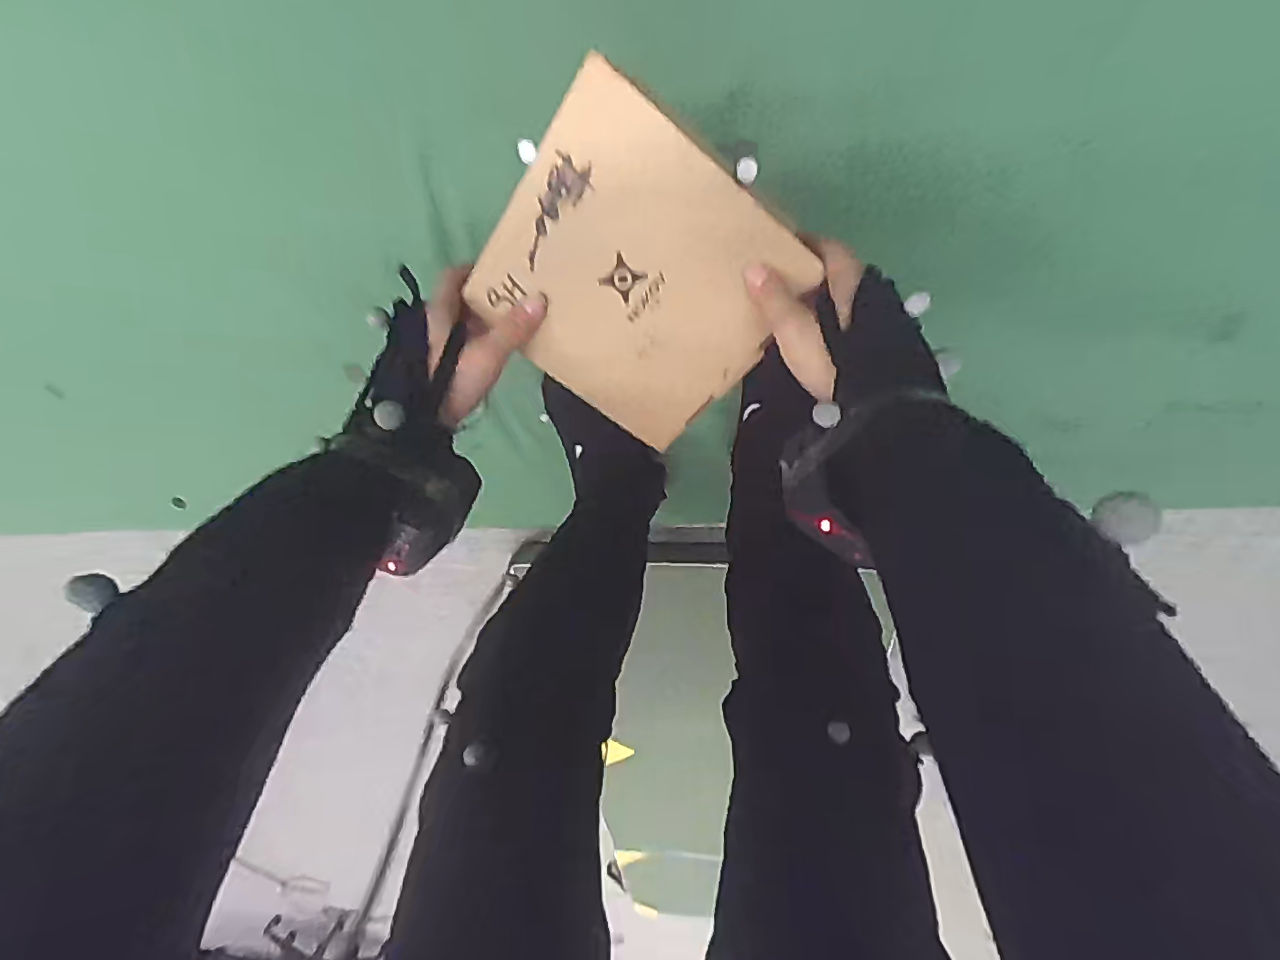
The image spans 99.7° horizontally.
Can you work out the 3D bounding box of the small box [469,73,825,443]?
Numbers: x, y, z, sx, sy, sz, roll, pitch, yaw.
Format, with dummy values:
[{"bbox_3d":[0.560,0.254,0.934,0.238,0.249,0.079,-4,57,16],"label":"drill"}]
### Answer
[{"bbox_3d":[0.008,-0.167,0.413,0.179,0.176,0.168,35,121,-16],"label":"small box"}]
